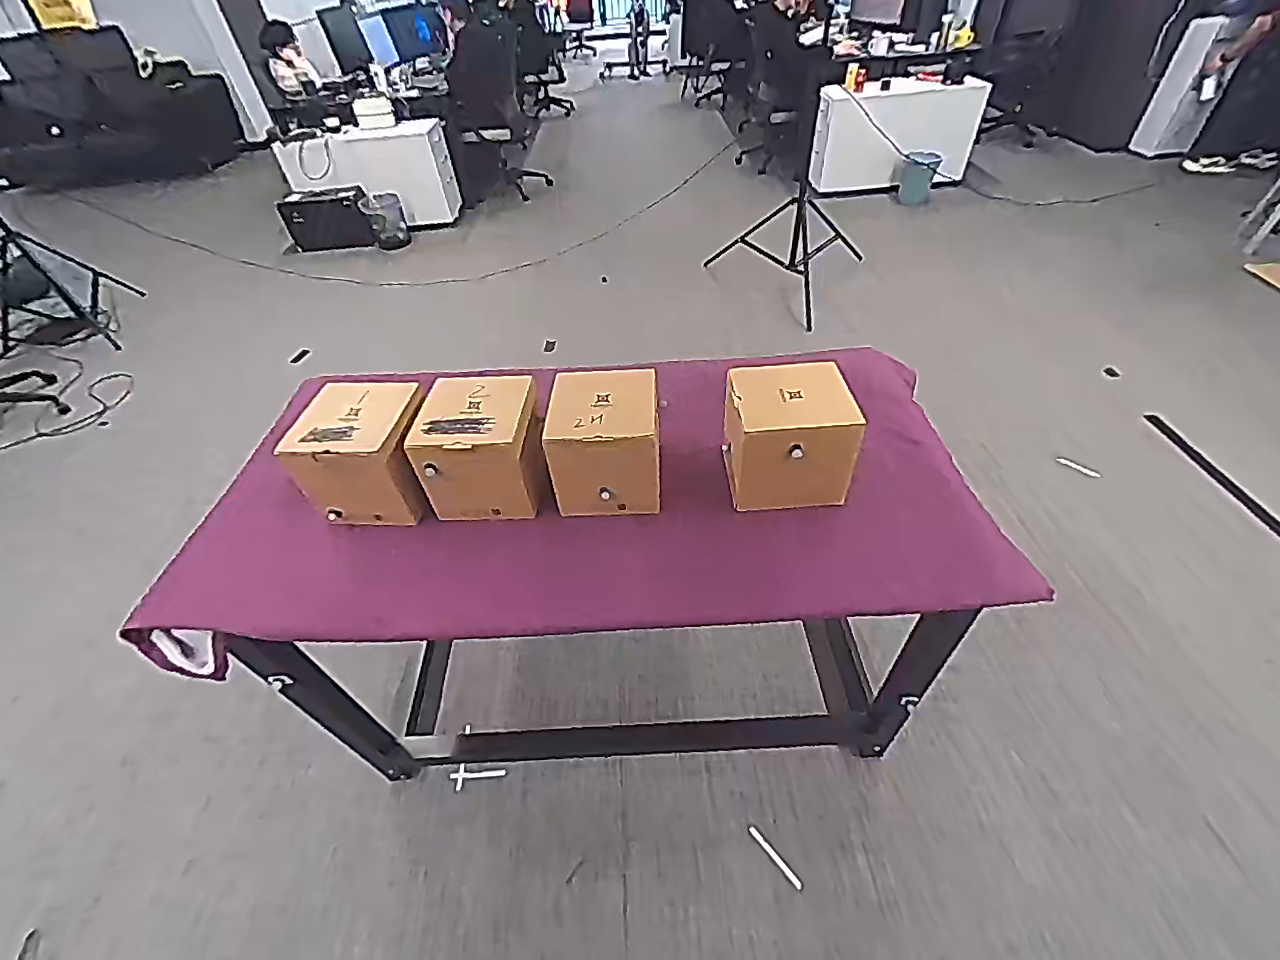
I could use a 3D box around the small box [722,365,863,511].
[{"bbox_3d":[0.233,-0.066,0.876,0.179,0.176,0.168,-4,43,1],"label":"small box"}]
